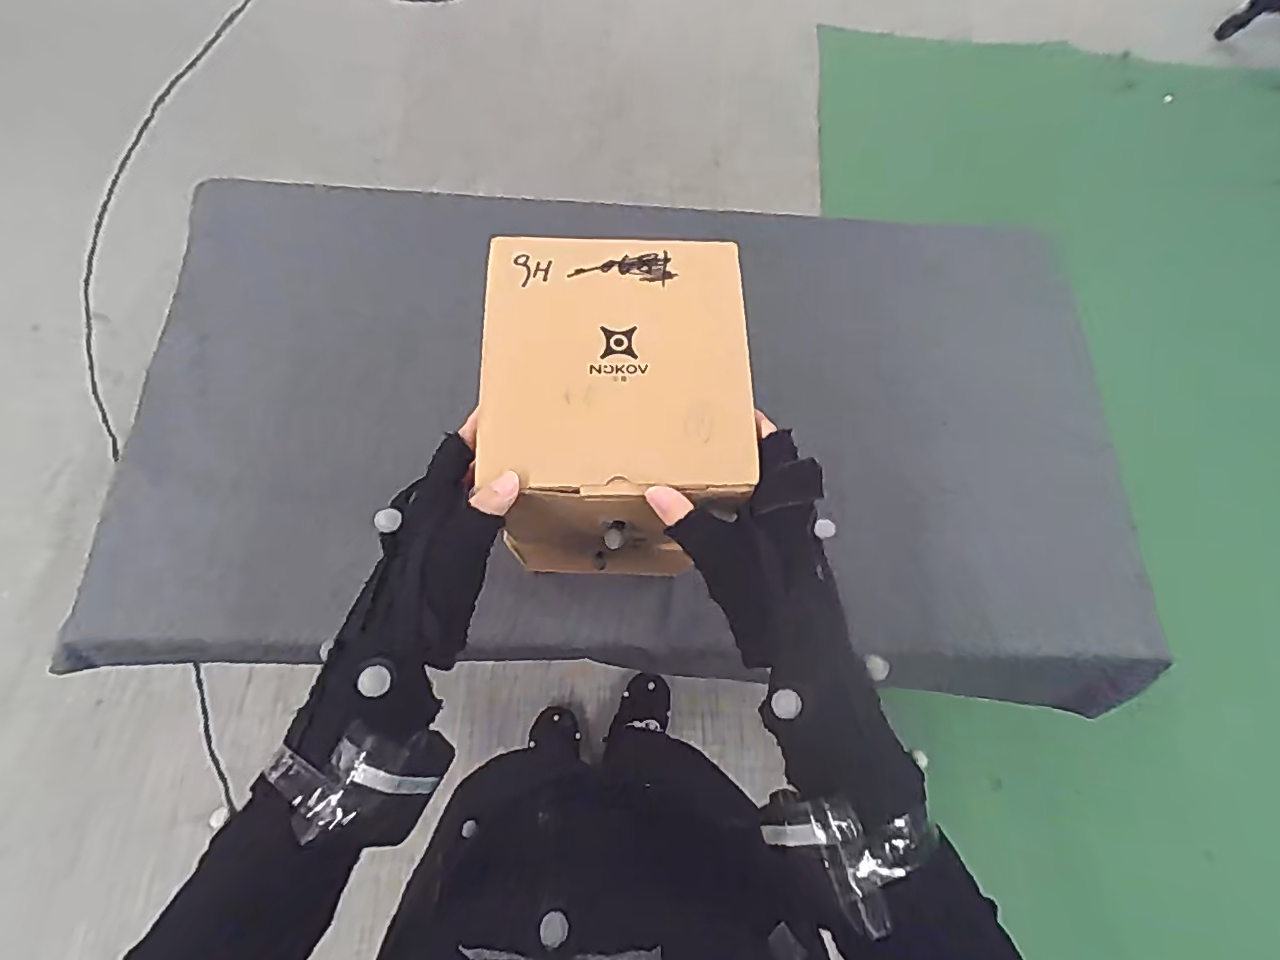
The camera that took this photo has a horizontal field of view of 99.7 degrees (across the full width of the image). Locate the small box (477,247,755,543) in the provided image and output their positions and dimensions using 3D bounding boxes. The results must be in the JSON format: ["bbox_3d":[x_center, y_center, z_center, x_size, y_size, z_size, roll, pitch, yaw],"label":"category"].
[{"bbox_3d":[-0.017,-0.048,0.412,0.168,0.176,0.179,0,74,-4],"label":"small box"}]

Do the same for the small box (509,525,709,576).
[{"bbox_3d":[-0.029,0.007,0.565,0.179,0.176,0.168,3,73,-4],"label":"small box"}]
